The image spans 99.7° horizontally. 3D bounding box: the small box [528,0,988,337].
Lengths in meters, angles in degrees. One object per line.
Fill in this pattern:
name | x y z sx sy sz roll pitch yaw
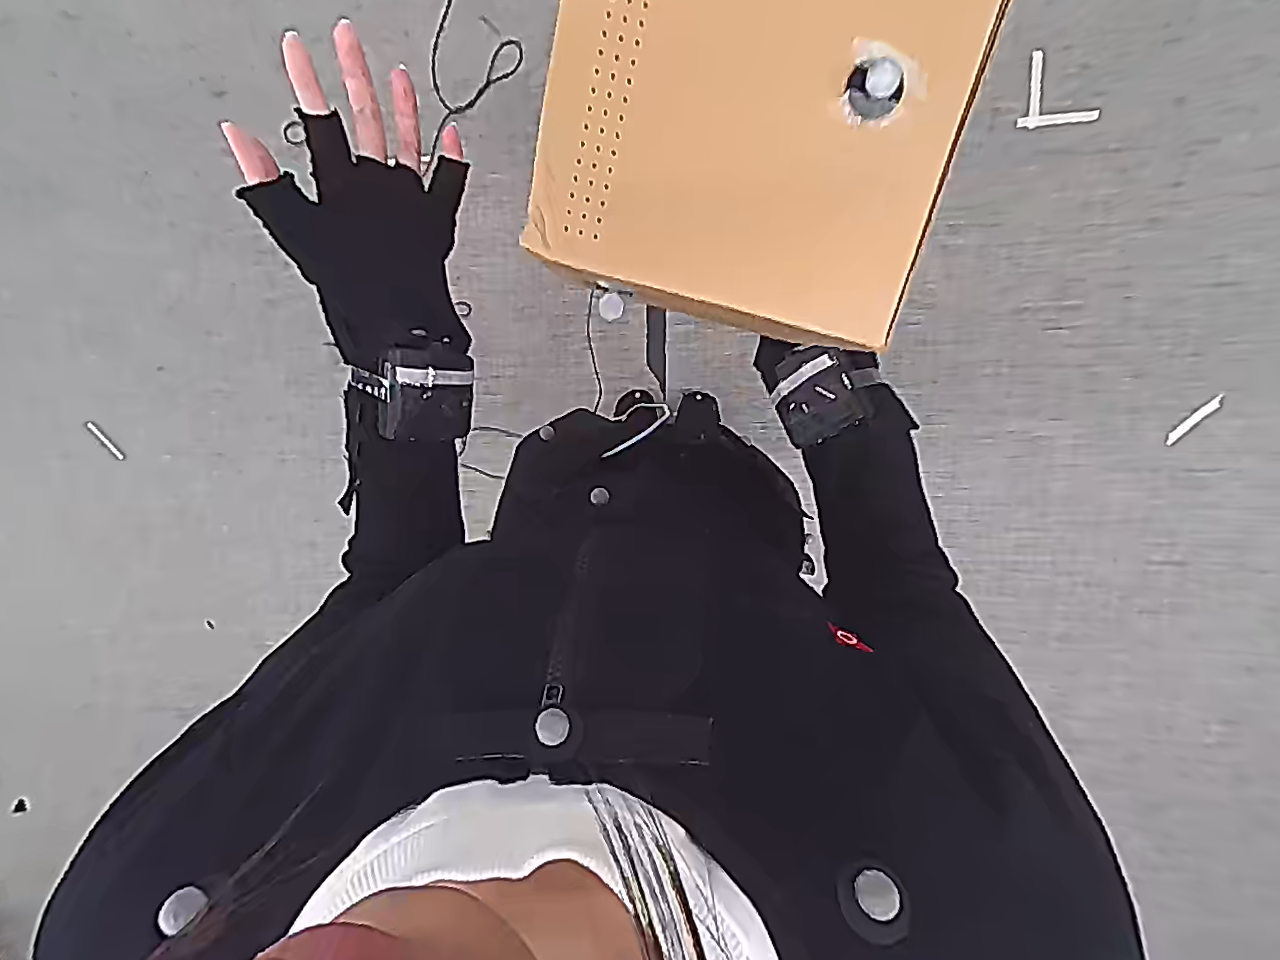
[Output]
small box | 0.045 -0.184 0.296 0.176 0.168 0.179 14 105 -2
